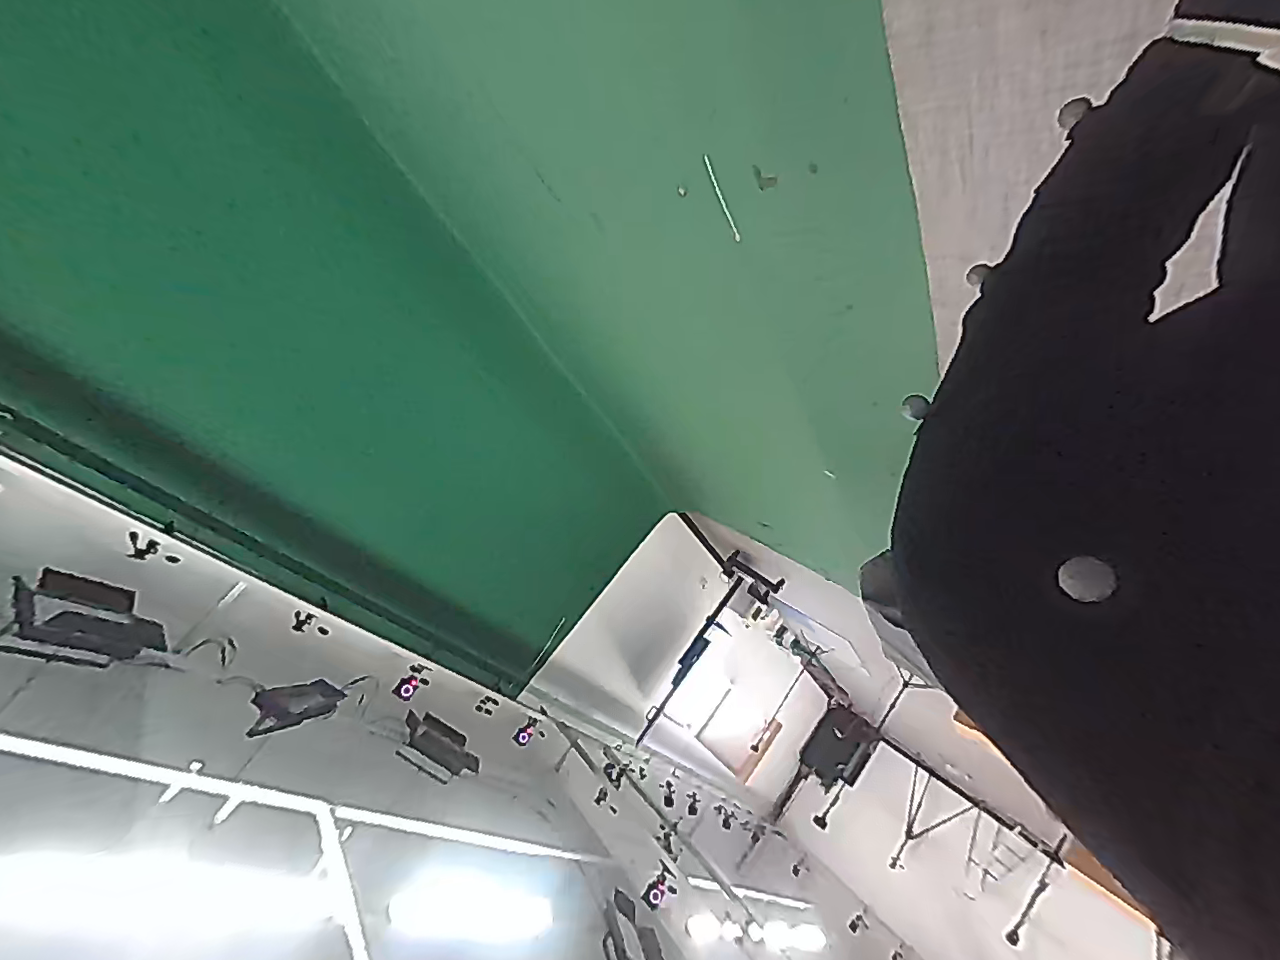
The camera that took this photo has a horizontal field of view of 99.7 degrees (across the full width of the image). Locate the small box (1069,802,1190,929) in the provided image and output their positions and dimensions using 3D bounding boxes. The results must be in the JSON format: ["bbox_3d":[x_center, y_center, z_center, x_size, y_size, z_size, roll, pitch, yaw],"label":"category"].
[{"bbox_3d":[1.185,0.928,1.312,0.179,0.176,0.168,25,160,52],"label":"small box"}]

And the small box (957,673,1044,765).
[{"bbox_3d":[1.076,0.708,1.615,0.168,0.176,0.179,26,162,45],"label":"small box"}]
